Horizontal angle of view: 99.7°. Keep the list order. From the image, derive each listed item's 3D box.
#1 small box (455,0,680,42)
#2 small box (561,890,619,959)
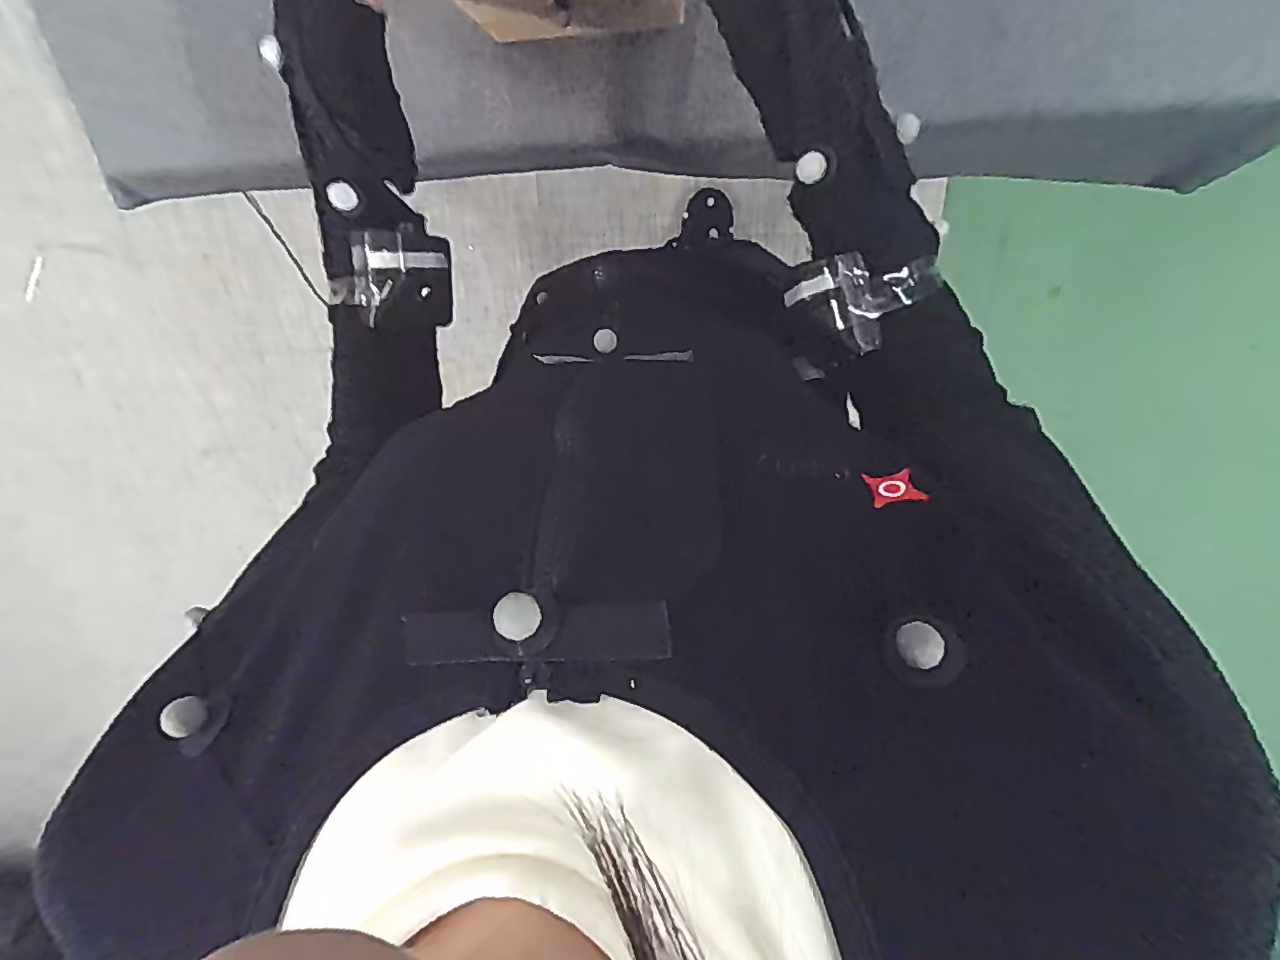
[{"bbox_3d":[-0.055,-0.449,0.396,0.179,0.176,0.168,-1,116,6],"label":"small box"},{"bbox_3d":[-0.170,1.603,1.932,0.179,0.176,0.168,-3,115,7],"label":"small box"}]
